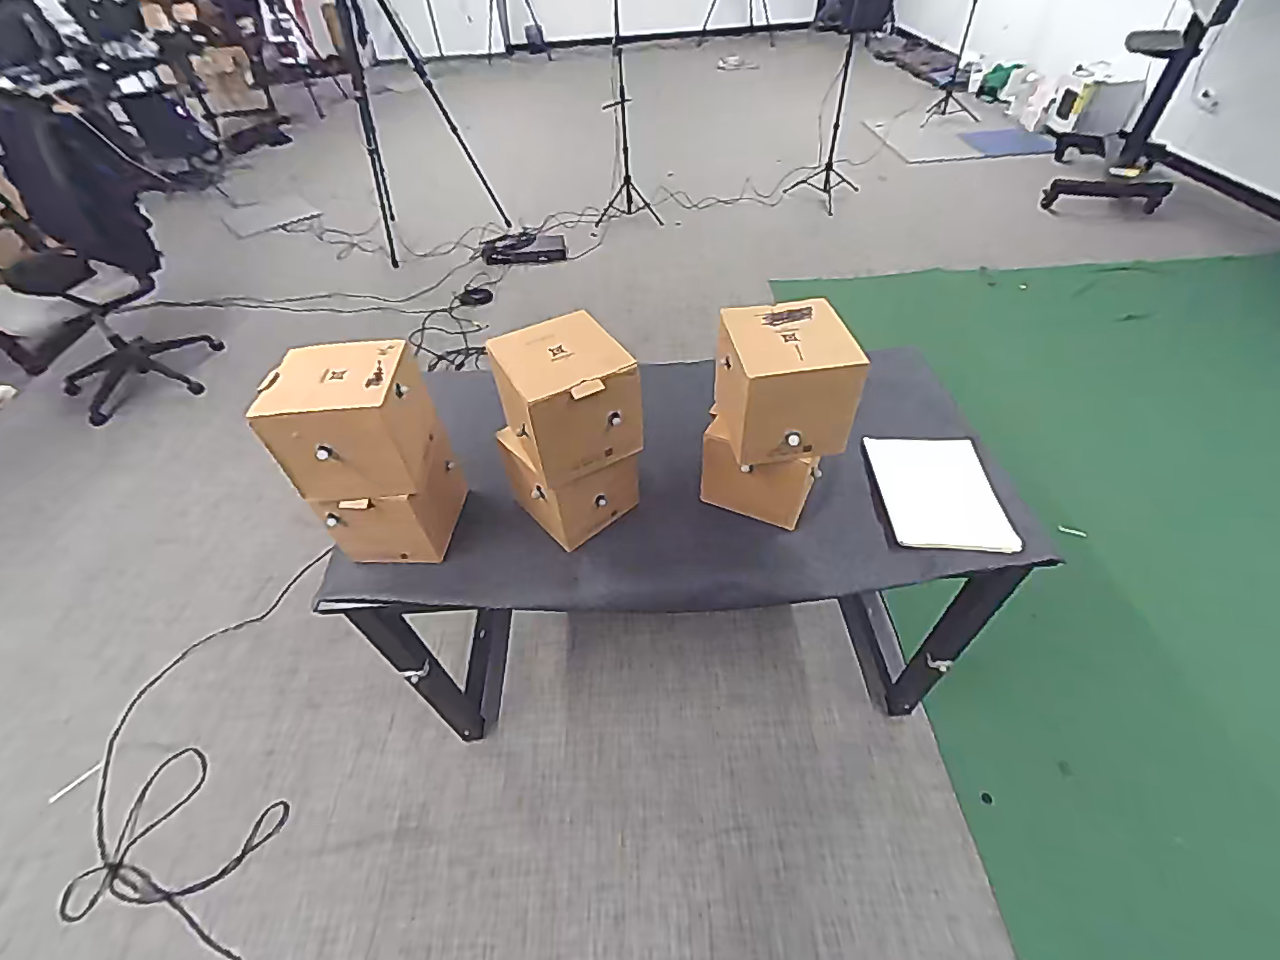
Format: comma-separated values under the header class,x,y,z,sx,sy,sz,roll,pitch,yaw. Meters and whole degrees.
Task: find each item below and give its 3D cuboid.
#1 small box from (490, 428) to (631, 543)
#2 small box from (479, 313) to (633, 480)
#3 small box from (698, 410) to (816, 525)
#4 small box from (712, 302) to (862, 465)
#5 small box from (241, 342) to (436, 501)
class,x,y,z,sx,sy,sz,roll,pitch,yaw
small box,-0.130,-0.014,0.945,0.168,0.176,0.179,-35,54,-26
small box,-0.120,-0.121,0.821,0.168,0.176,0.179,-24,49,-20
small box,0.212,-0.045,0.952,0.179,0.176,0.168,18,50,21
small box,0.207,-0.146,0.822,0.168,0.176,0.179,-8,47,-2
small box,-0.429,-0.083,0.805,0.179,0.176,0.168,-6,46,-2
